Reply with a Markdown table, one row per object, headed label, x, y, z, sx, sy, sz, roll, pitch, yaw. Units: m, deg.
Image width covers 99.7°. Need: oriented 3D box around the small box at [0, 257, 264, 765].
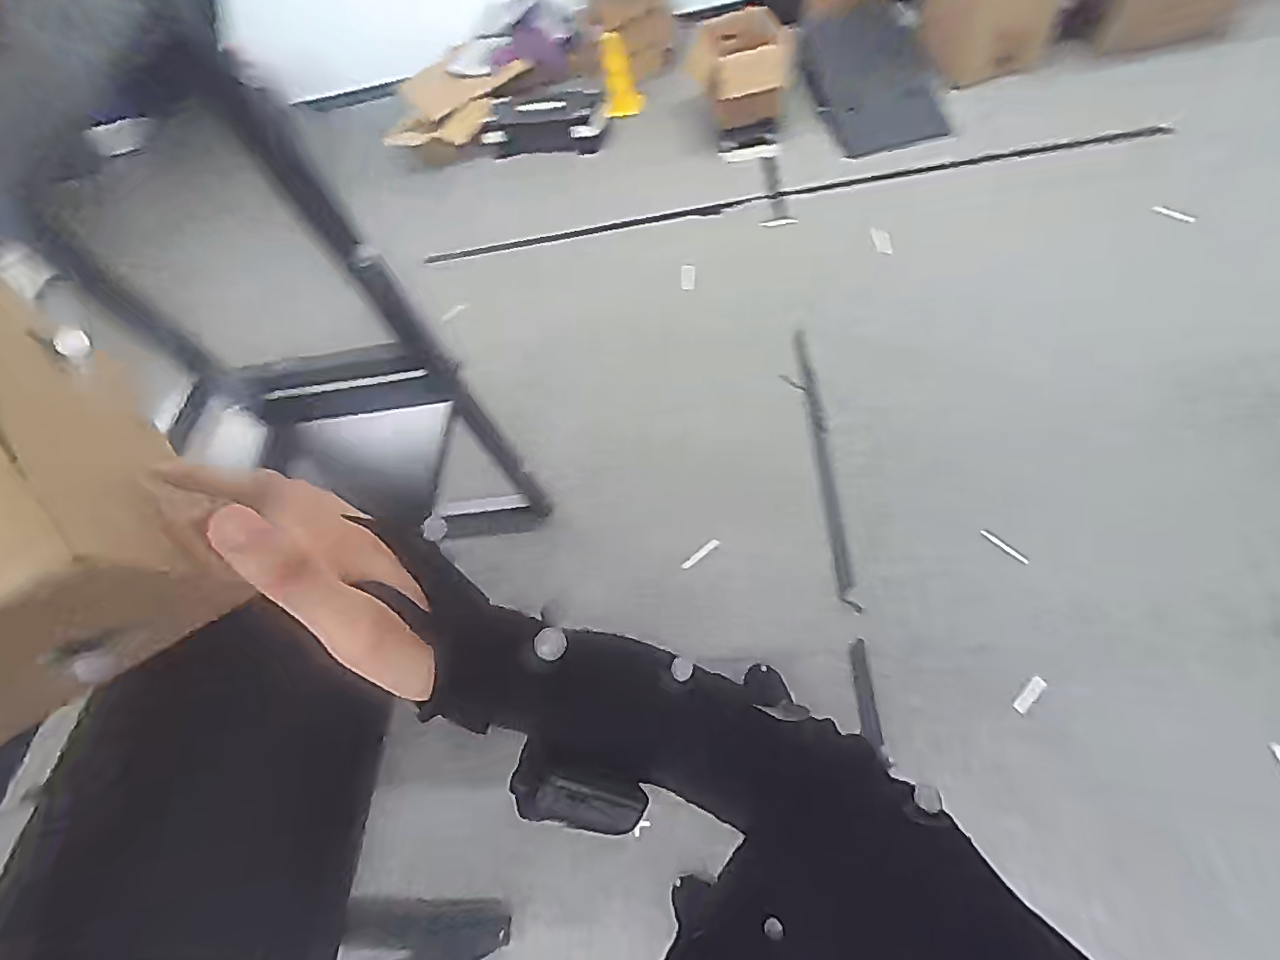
| label | x | y | z | sx | sy | sz | roll | pitch | yaw |
| --- | --- | --- | --- | --- | --- | --- | --- | --- | --- |
| small box | -0.283 | 0.023 | 0.207 | 0.179 | 0.176 | 0.168 | -34 | 89 | -23 |
